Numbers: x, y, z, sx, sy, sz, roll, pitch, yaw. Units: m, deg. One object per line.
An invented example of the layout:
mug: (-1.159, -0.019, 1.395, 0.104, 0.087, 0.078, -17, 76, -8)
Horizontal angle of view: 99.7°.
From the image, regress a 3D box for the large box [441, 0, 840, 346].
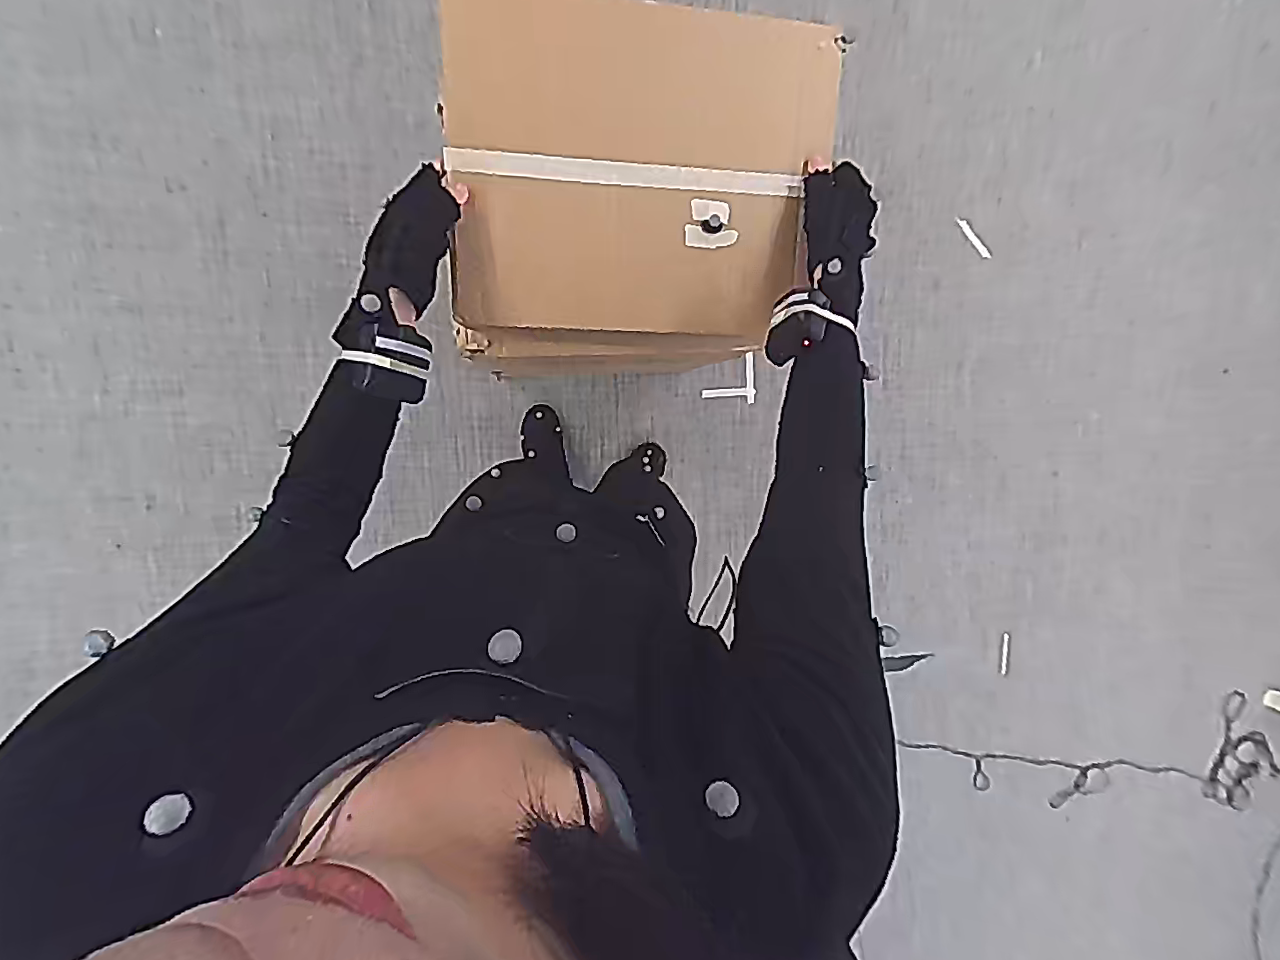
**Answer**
large box: (-0.014, -0.340, 0.697, 0.408, 0.320, 0.320, -1, 102, -10)
